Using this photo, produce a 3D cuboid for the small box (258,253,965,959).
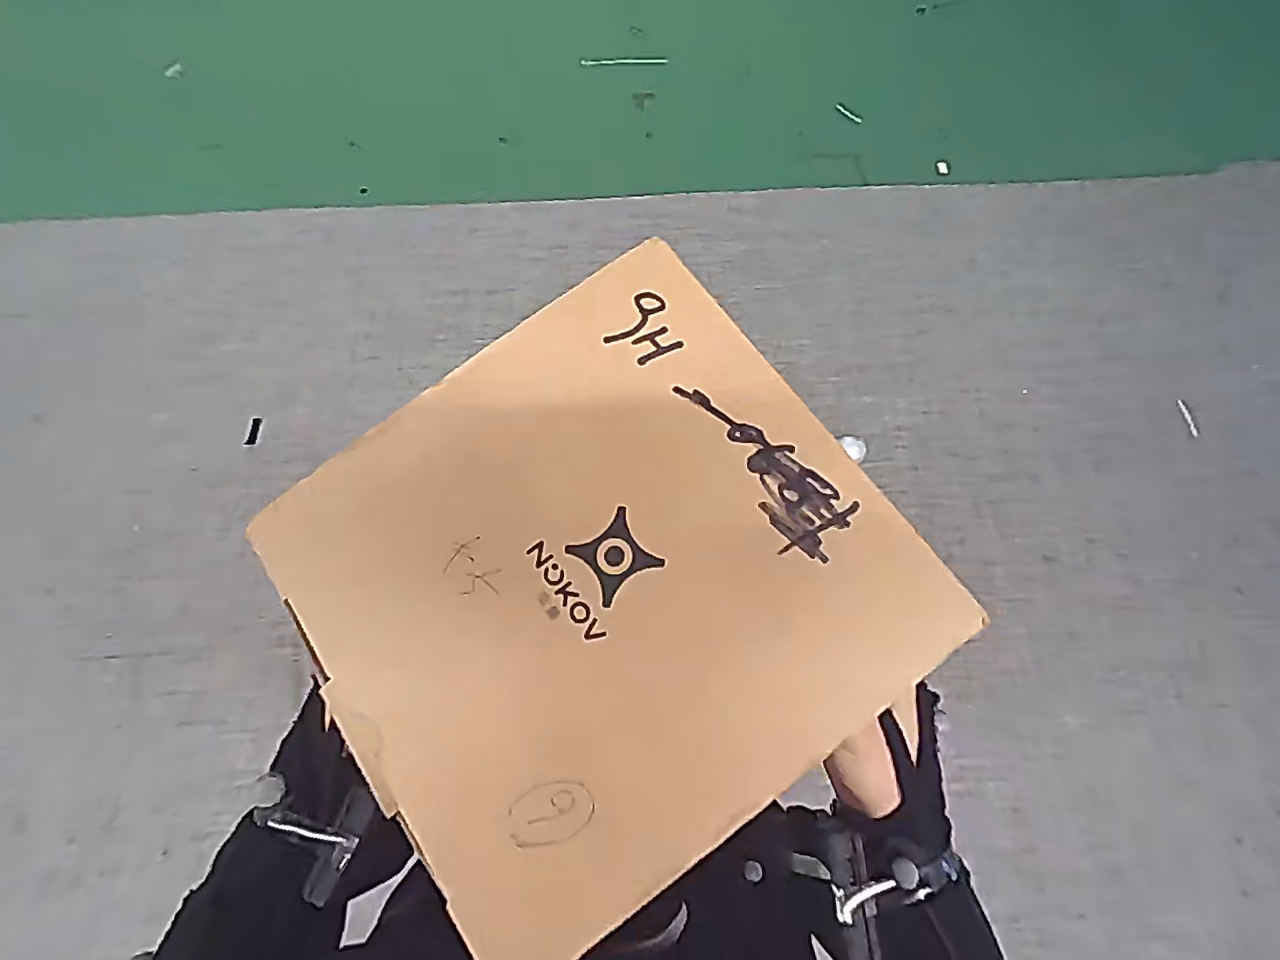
[{"bbox_3d":[-0.010,0.047,0.250,0.179,0.176,0.168,-36,77,-3],"label":"small box"}]
